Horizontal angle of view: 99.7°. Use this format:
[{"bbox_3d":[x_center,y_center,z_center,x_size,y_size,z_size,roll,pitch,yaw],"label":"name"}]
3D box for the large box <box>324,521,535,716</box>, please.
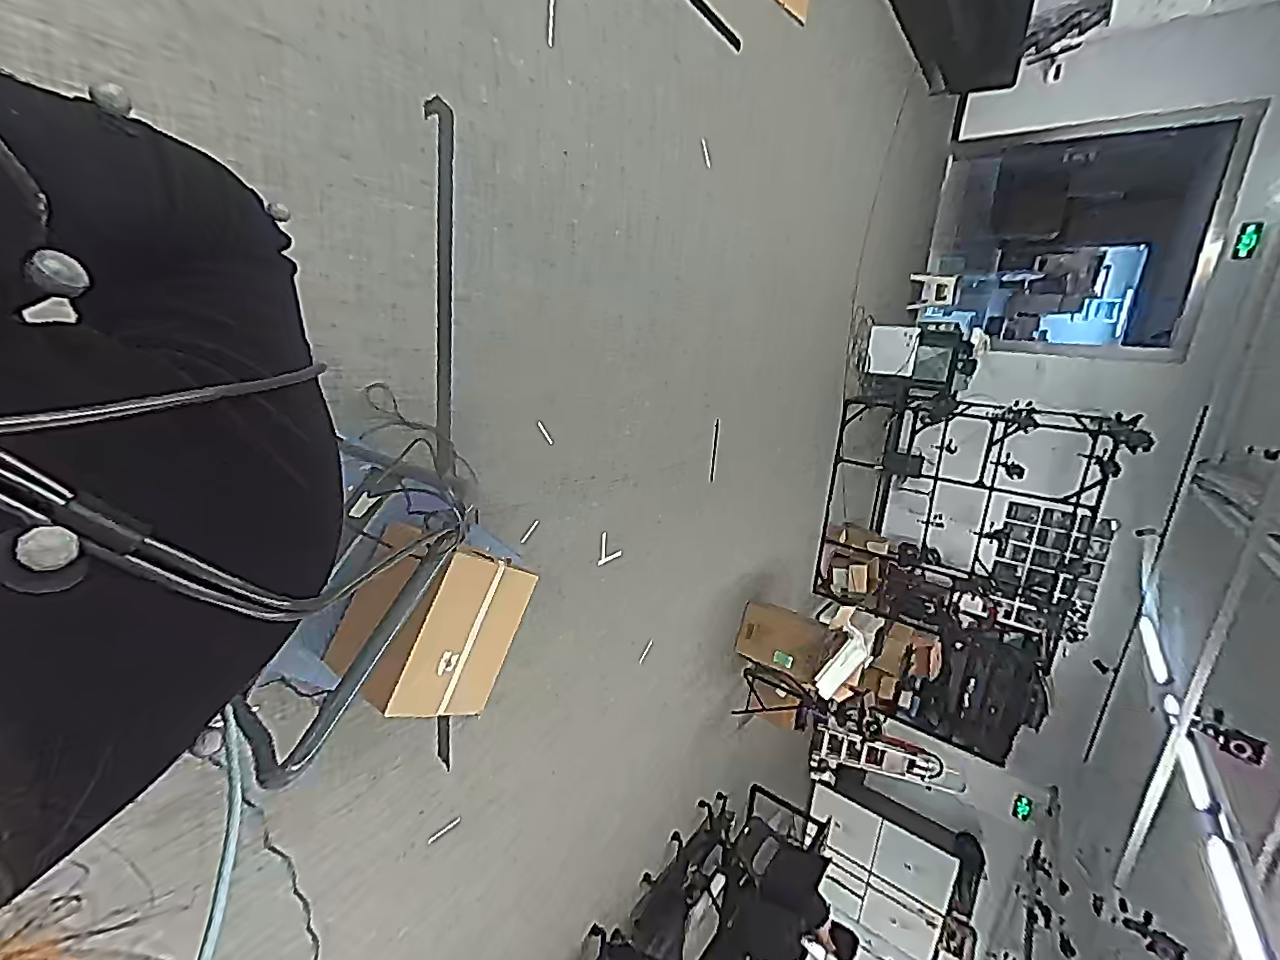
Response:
[{"bbox_3d":[-0.557,0.368,1.457,0.320,0.320,0.408,35,75,-53],"label":"large box"}]
